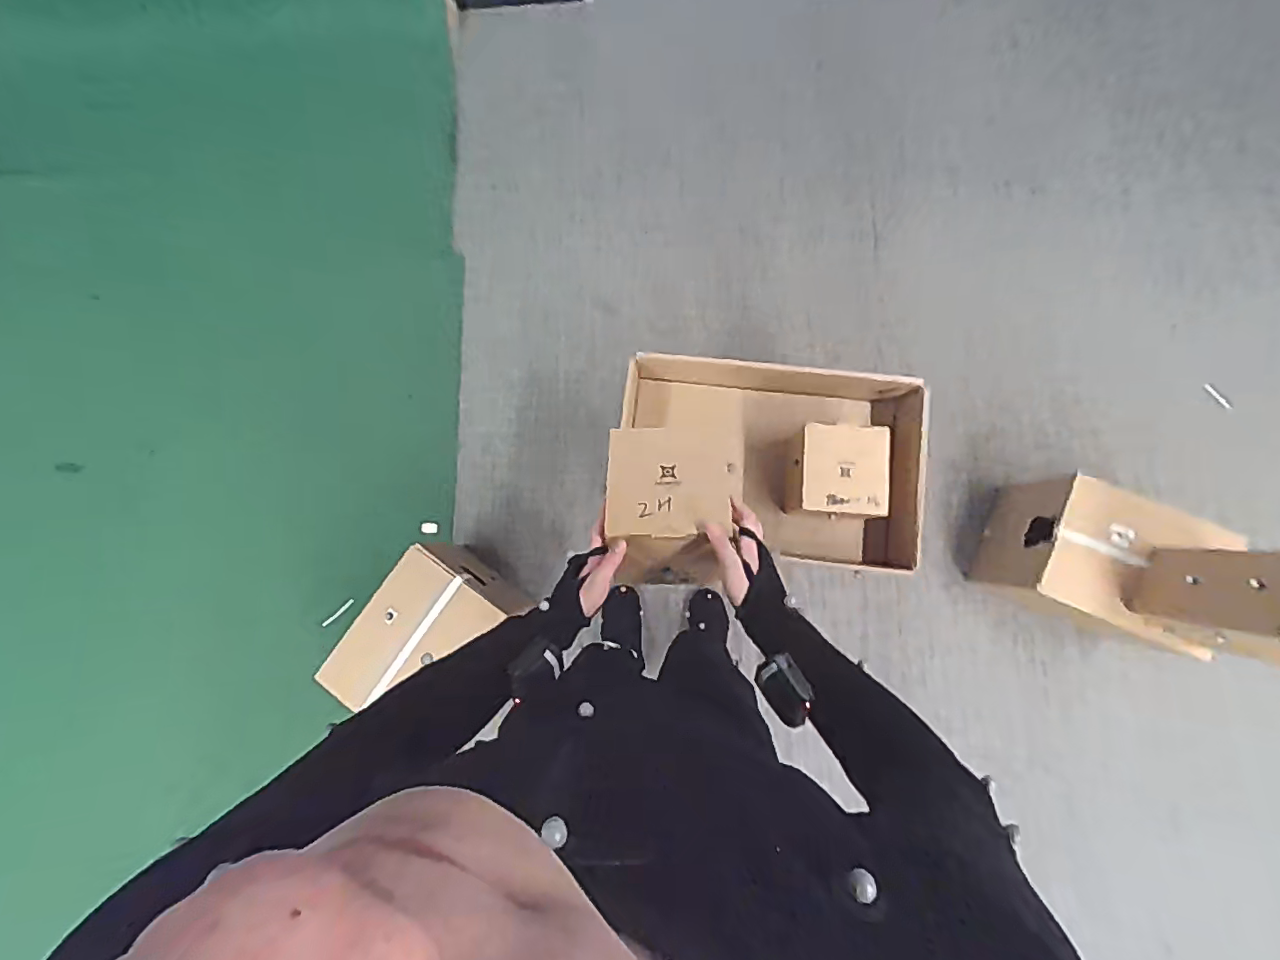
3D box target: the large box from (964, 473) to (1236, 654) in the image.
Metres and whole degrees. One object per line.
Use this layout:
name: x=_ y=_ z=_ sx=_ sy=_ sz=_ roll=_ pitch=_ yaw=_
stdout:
large box: x=1.175 y=0.211 z=1.426 sx=0.408 sy=0.320 sz=0.320 roll=23 pitch=84 yaw=6

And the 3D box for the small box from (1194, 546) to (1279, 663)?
small box: x=1.212 y=0.239 z=1.009 sx=0.168 sy=0.176 sz=0.179 roll=30 pitch=86 yaw=7

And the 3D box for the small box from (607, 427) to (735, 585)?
small box: x=0.044 y=0.040 z=0.796 sx=0.168 sy=0.176 sz=0.179 roll=0 pitch=58 yaw=3

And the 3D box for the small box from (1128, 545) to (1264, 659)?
small box: x=1.228 y=0.253 z=1.171 sx=0.168 sy=0.176 sz=0.179 roll=29 pitch=87 yaw=7
